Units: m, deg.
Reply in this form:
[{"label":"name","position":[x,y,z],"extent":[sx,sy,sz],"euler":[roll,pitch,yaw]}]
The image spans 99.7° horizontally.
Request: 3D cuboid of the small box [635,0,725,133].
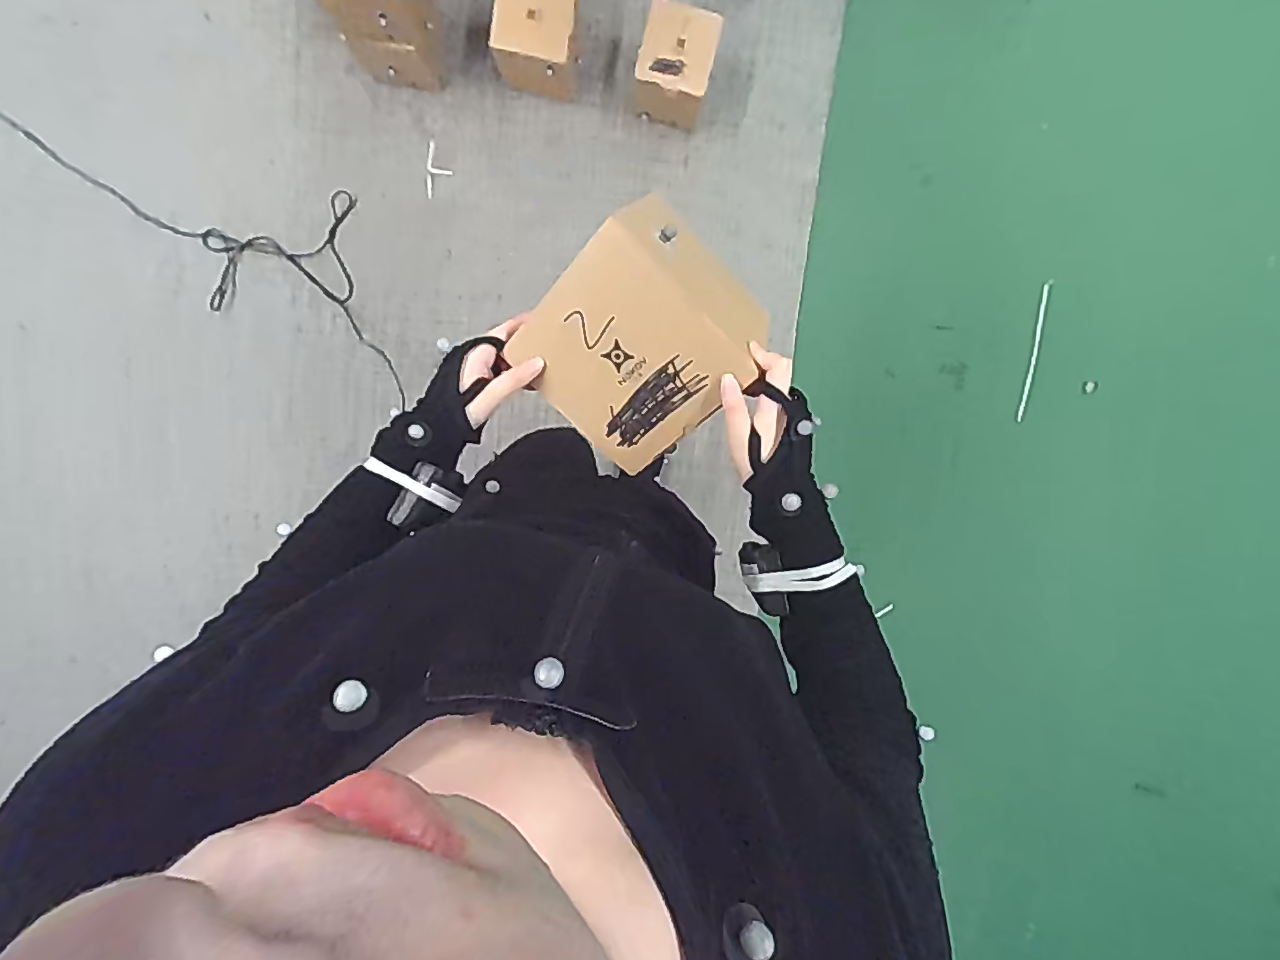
[{"label":"small box","position":[0.089,-0.971,1.288],"extent":[0.168,0.176,0.179],"euler":[15,96,-3]}]
